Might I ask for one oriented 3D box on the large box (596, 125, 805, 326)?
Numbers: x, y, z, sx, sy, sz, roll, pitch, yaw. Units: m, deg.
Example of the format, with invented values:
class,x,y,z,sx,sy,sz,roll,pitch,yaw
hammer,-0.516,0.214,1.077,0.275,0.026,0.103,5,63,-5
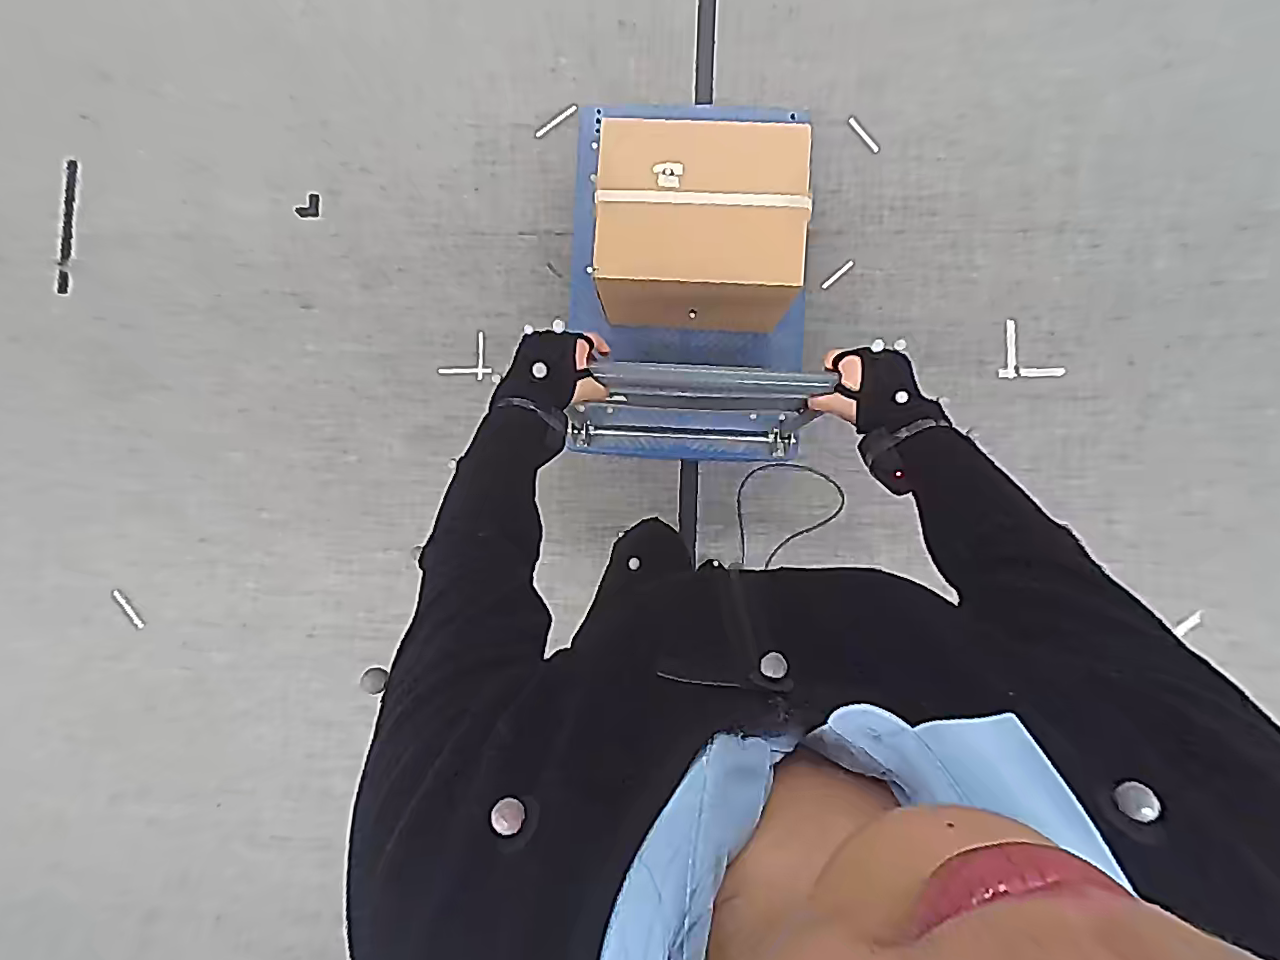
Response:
class,x,y,z,sx,sy,sz,roll,pitch,yaw
large box,0.128,-0.539,1.202,0.408,0.320,0.320,3,88,4
